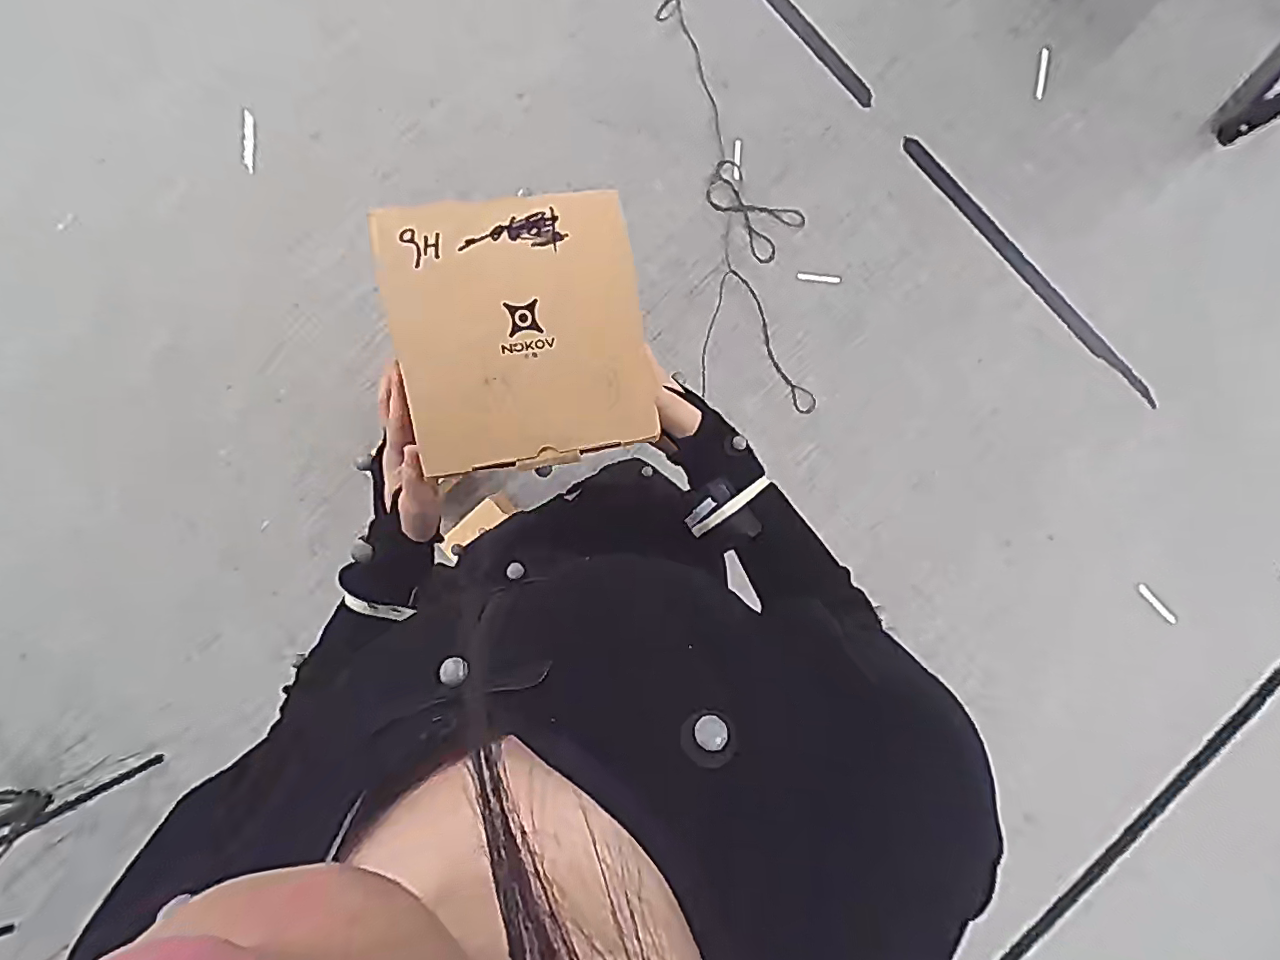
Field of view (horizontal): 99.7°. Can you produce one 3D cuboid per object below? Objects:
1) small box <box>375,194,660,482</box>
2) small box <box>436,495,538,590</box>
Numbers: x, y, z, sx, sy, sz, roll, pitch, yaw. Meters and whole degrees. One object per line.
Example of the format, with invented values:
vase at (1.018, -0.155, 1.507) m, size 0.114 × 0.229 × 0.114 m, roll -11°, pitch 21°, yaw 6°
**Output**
small box at (-0.092, -0.103, 0.438) m, size 0.168 × 0.176 × 0.179 m, roll -10°, pitch 96°, yaw -13°
small box at (-0.387, 0.154, 1.405) m, size 0.179 × 0.176 × 0.168 m, roll -43°, pitch 93°, yaw -2°
